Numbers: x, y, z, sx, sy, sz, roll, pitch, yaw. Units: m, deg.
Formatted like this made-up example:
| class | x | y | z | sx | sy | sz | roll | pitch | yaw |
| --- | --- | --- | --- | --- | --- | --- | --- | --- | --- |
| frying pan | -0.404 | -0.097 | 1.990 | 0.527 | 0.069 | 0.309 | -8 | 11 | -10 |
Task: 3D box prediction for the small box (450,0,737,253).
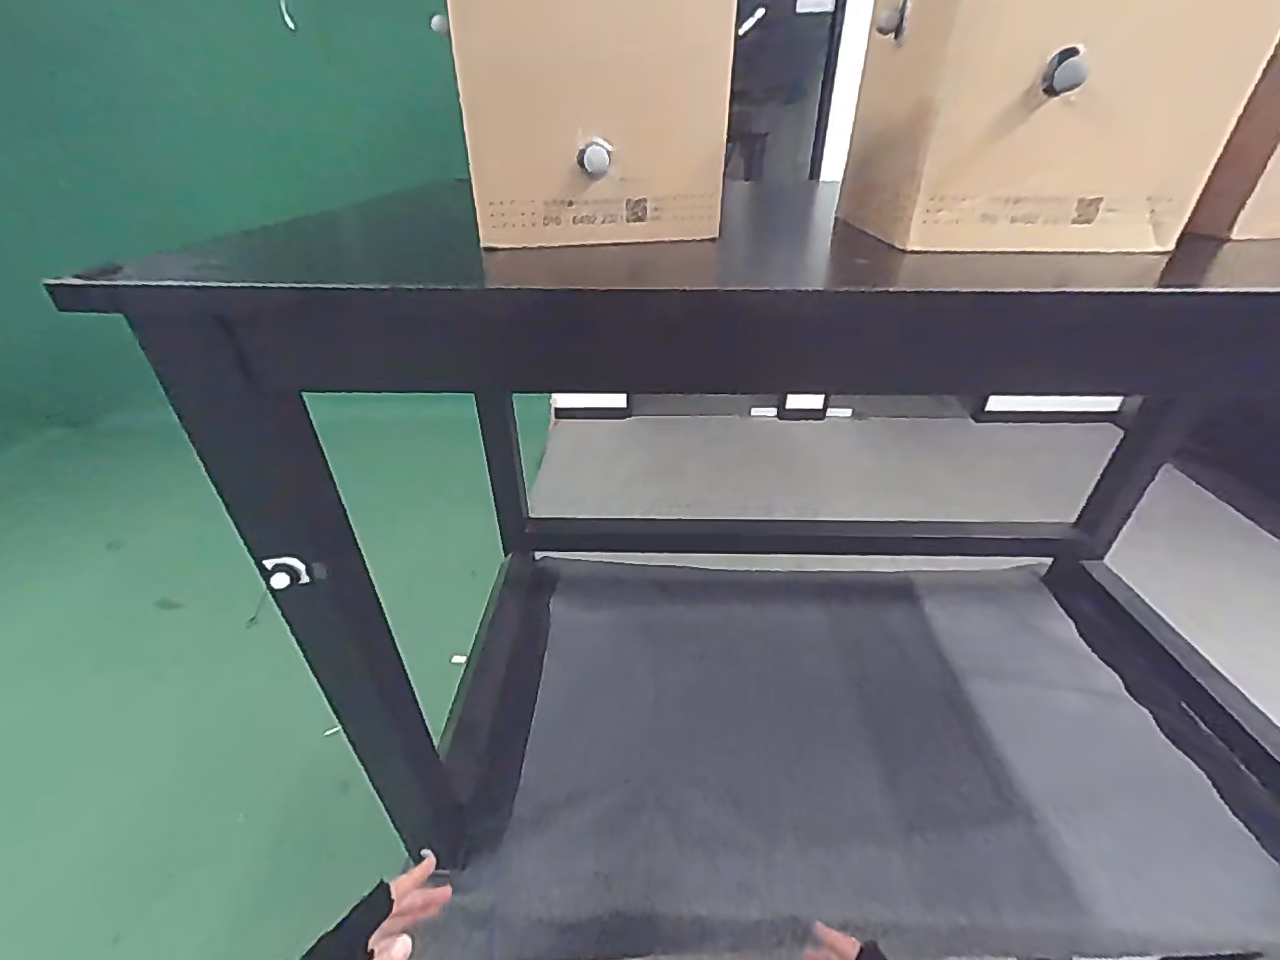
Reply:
| class | x | y | z | sx | sy | sz | roll | pitch | yaw |
| --- | --- | --- | --- | --- | --- | --- | --- | --- | --- |
| small box | -0.043 | -0.271 | 0.396 | 0.168 | 0.176 | 0.179 | -8 | 35 | -11 |
